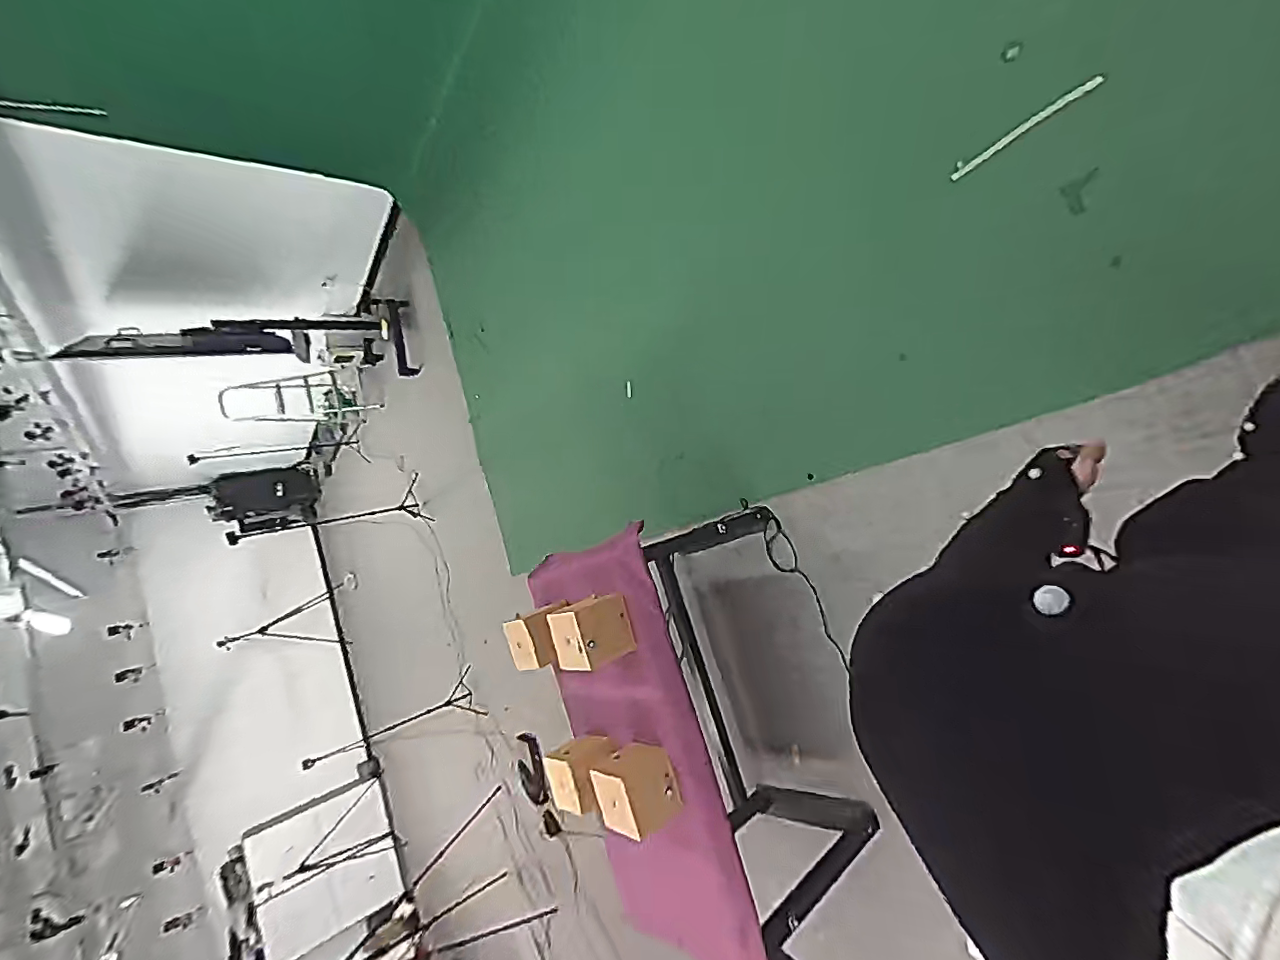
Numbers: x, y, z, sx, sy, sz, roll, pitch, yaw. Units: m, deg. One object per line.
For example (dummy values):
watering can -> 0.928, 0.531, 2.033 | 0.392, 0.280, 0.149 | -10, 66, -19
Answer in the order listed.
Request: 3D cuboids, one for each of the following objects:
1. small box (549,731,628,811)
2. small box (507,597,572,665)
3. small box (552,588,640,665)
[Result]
small box -> -0.167, 0.933, 1.753 | 0.179, 0.176, 0.168 | -25, 80, 49
small box -> -0.315, 0.505, 1.806 | 0.179, 0.176, 0.168 | -27, 82, 49
small box -> -0.127, 0.421, 1.562 | 0.179, 0.176, 0.168 | -24, 83, 53
